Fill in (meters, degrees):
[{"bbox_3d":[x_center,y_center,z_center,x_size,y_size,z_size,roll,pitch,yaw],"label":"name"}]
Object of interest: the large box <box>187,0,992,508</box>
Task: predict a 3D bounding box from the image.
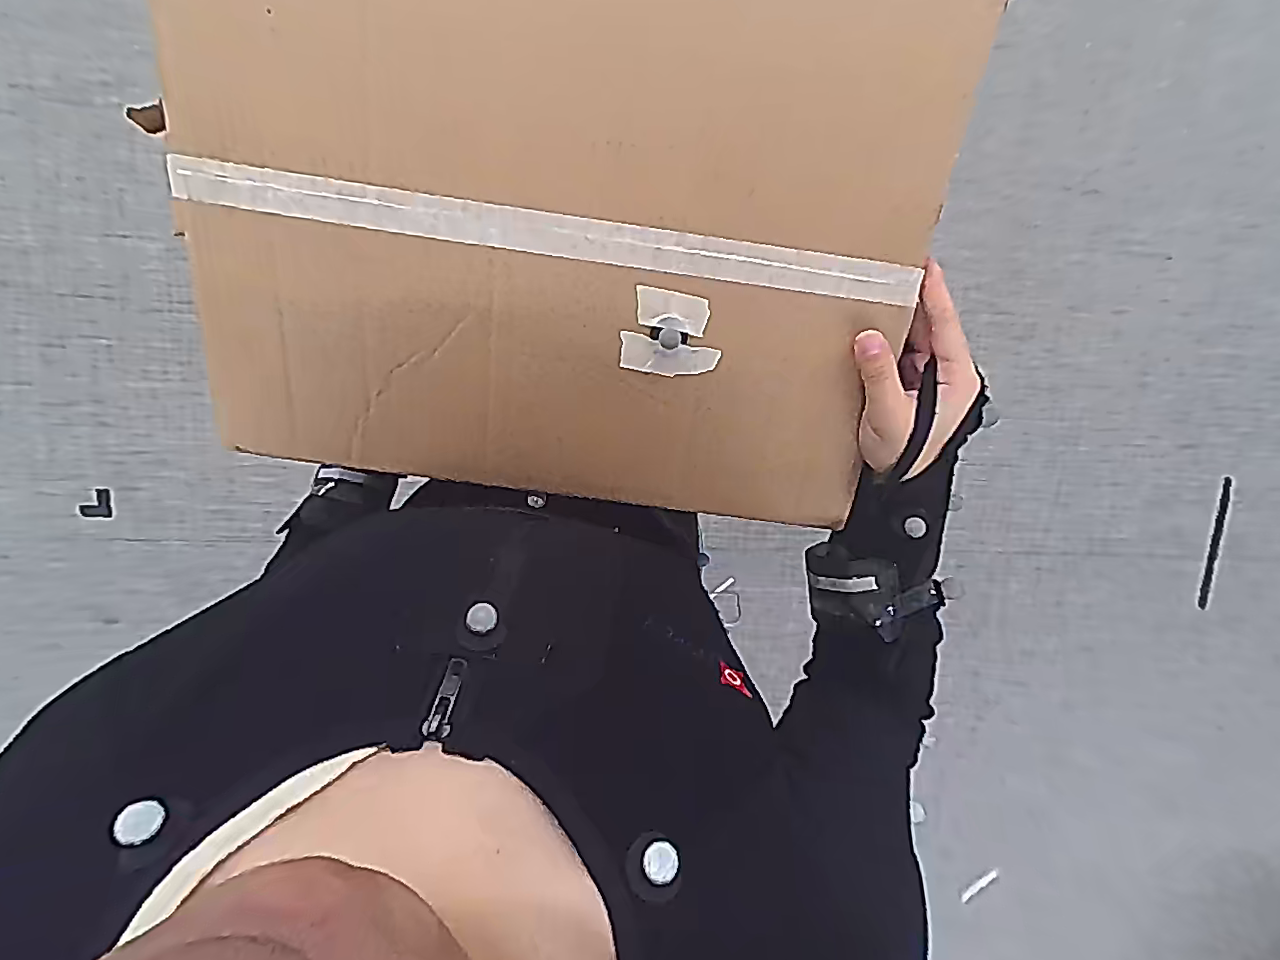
[{"bbox_3d":[-0.040,-0.194,0.444,0.408,0.320,0.320,6,113,-4],"label":"large box"}]
